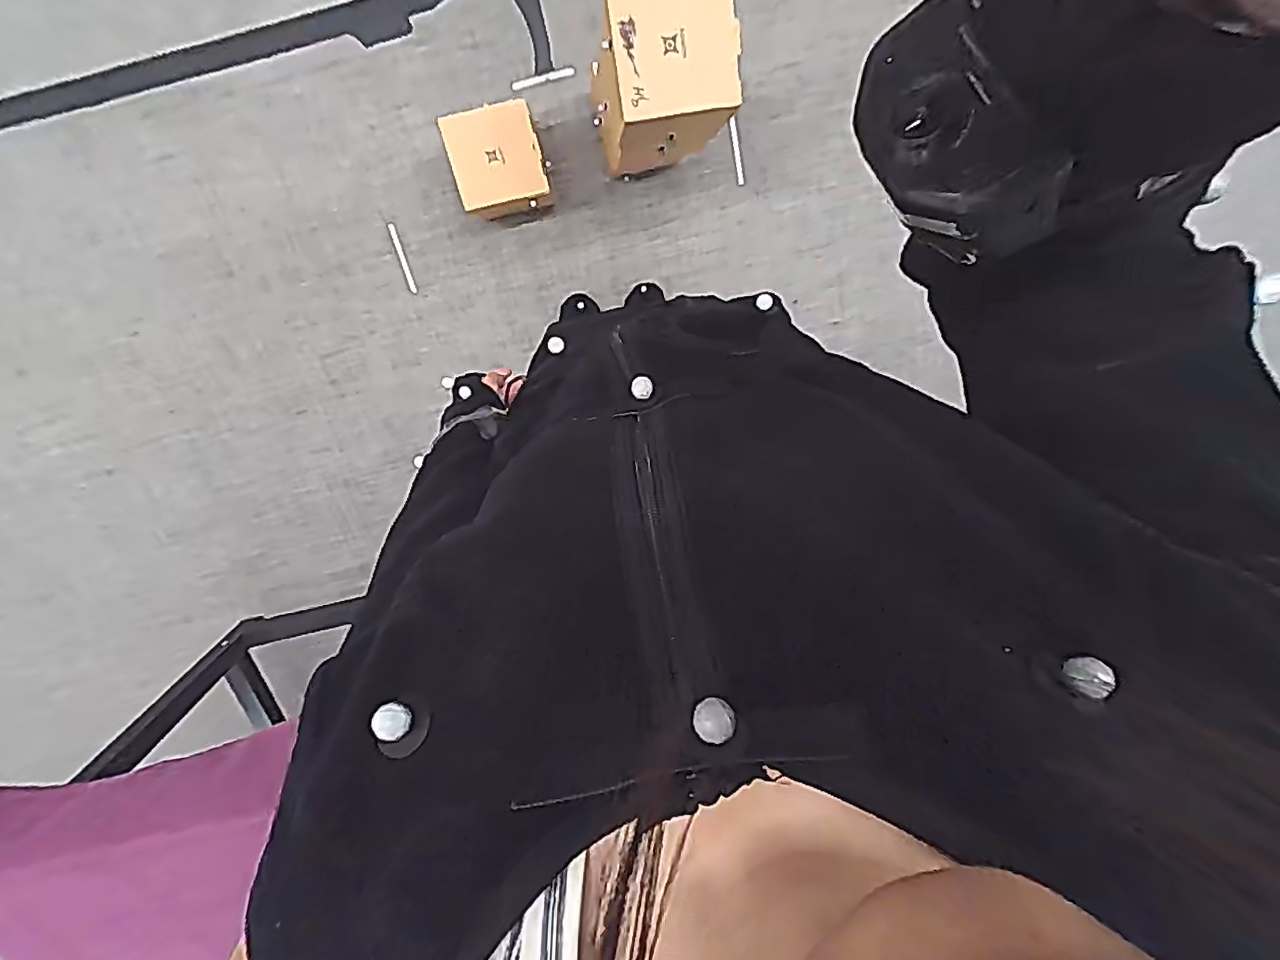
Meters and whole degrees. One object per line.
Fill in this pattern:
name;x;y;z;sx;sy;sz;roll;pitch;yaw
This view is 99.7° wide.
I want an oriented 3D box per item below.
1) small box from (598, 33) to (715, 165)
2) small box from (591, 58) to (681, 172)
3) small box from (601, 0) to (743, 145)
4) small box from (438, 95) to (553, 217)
small box;0.026;-0.682;0.965;0.179;0.176;0.168;-13;111;-2
small box;0.001;-0.753;1.112;0.168;0.176;0.179;-15;110;-1
small box;0.043;-0.623;0.813;0.179;0.176;0.168;-10;111;-4
small box;-0.288;-0.657;1.118;0.179;0.176;0.168;-14;110;-1
